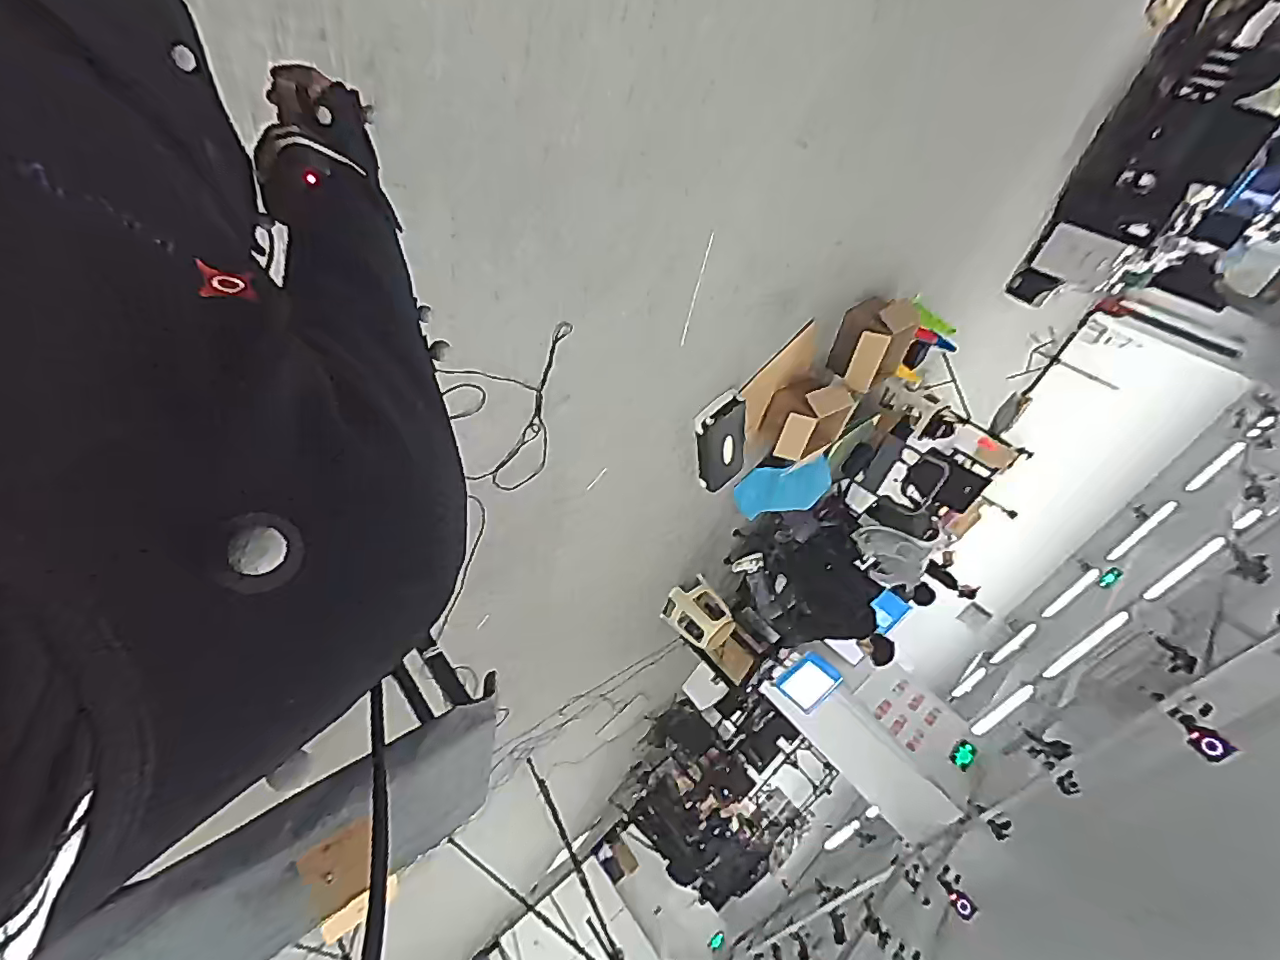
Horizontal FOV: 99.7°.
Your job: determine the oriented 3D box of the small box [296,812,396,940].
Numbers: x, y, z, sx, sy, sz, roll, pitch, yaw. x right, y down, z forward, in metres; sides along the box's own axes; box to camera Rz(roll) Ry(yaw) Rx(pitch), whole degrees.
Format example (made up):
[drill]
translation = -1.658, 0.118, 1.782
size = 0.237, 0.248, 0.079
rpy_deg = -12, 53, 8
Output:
[small box]
translation = -0.710, 0.950, 1.310
size = 0.168, 0.176, 0.179
rpy_deg = -20, 142, -38
